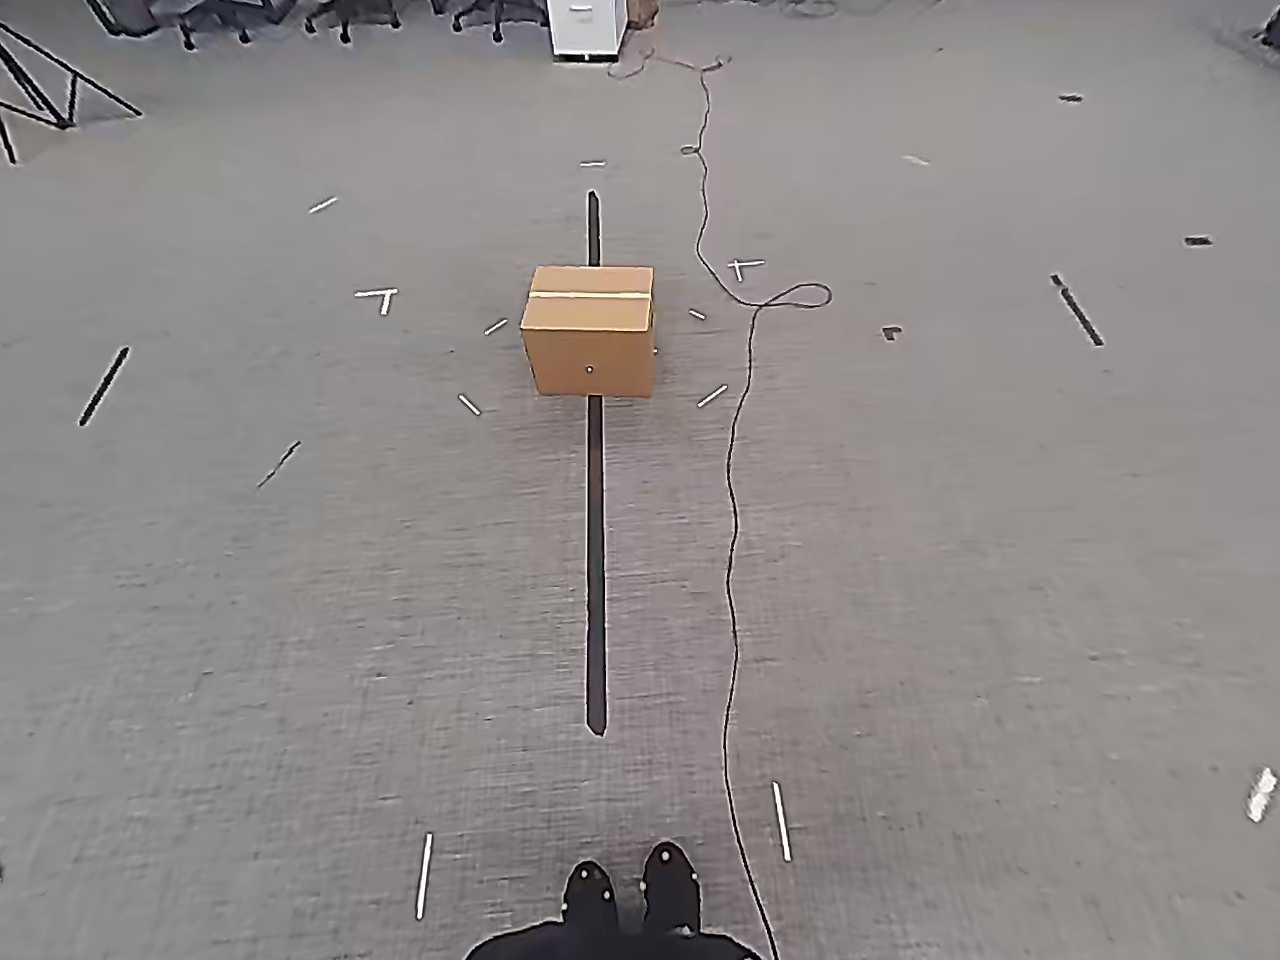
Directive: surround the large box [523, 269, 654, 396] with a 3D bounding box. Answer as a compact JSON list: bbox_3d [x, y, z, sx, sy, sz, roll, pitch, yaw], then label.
[{"bbox_3d":[-0.159,-0.507,1.876,0.408,0.320,0.320,2,58,4],"label":"large box"}]
